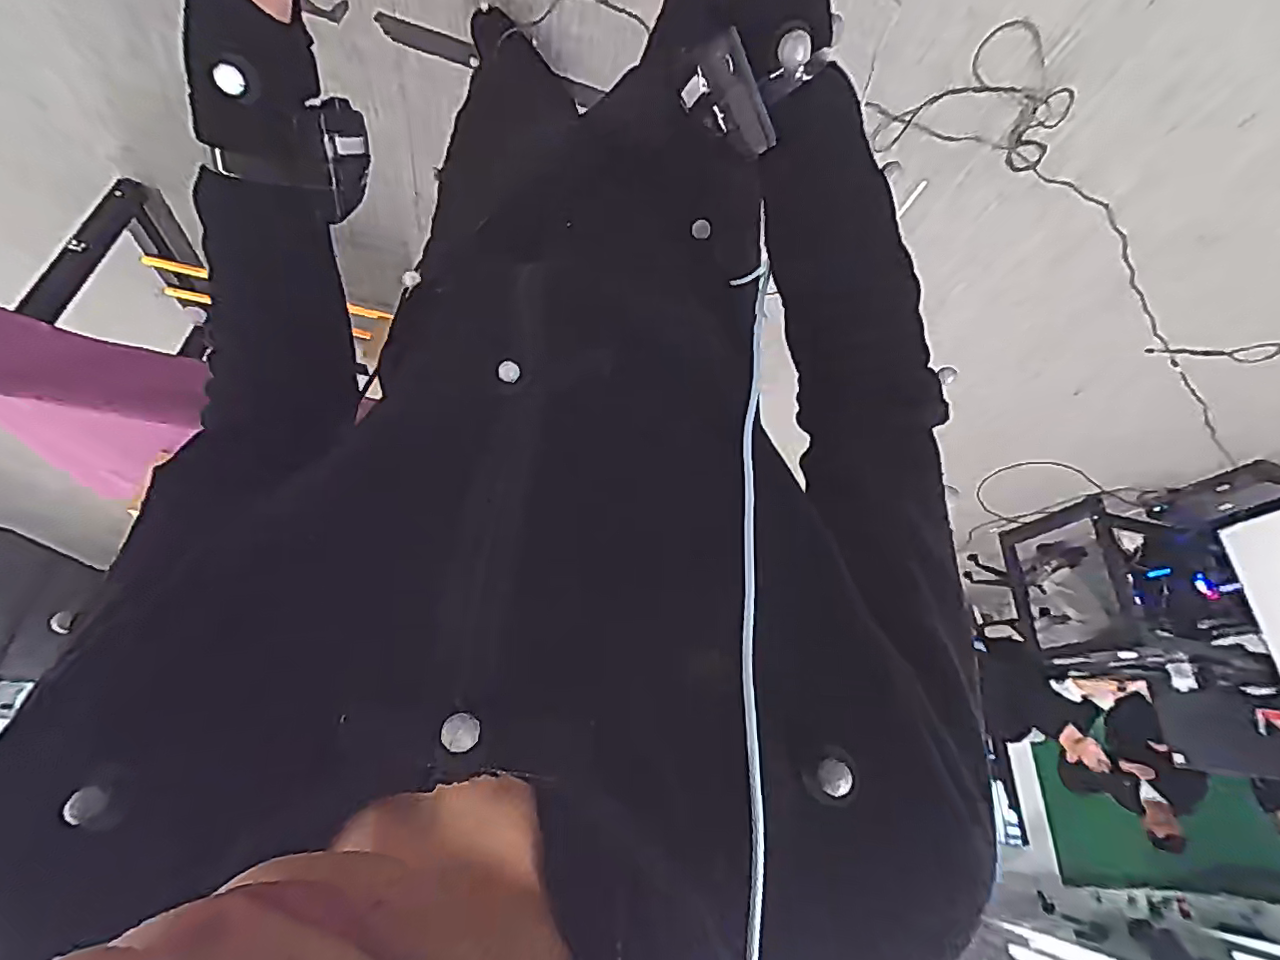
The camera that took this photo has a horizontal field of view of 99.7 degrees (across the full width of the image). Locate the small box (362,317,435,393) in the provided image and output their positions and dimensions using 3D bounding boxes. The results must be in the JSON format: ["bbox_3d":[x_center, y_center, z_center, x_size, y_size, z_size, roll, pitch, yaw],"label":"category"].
[{"bbox_3d":[-0.799,-0.420,1.811,0.179,0.176,0.168,12,153,-8],"label":"small box"}]
